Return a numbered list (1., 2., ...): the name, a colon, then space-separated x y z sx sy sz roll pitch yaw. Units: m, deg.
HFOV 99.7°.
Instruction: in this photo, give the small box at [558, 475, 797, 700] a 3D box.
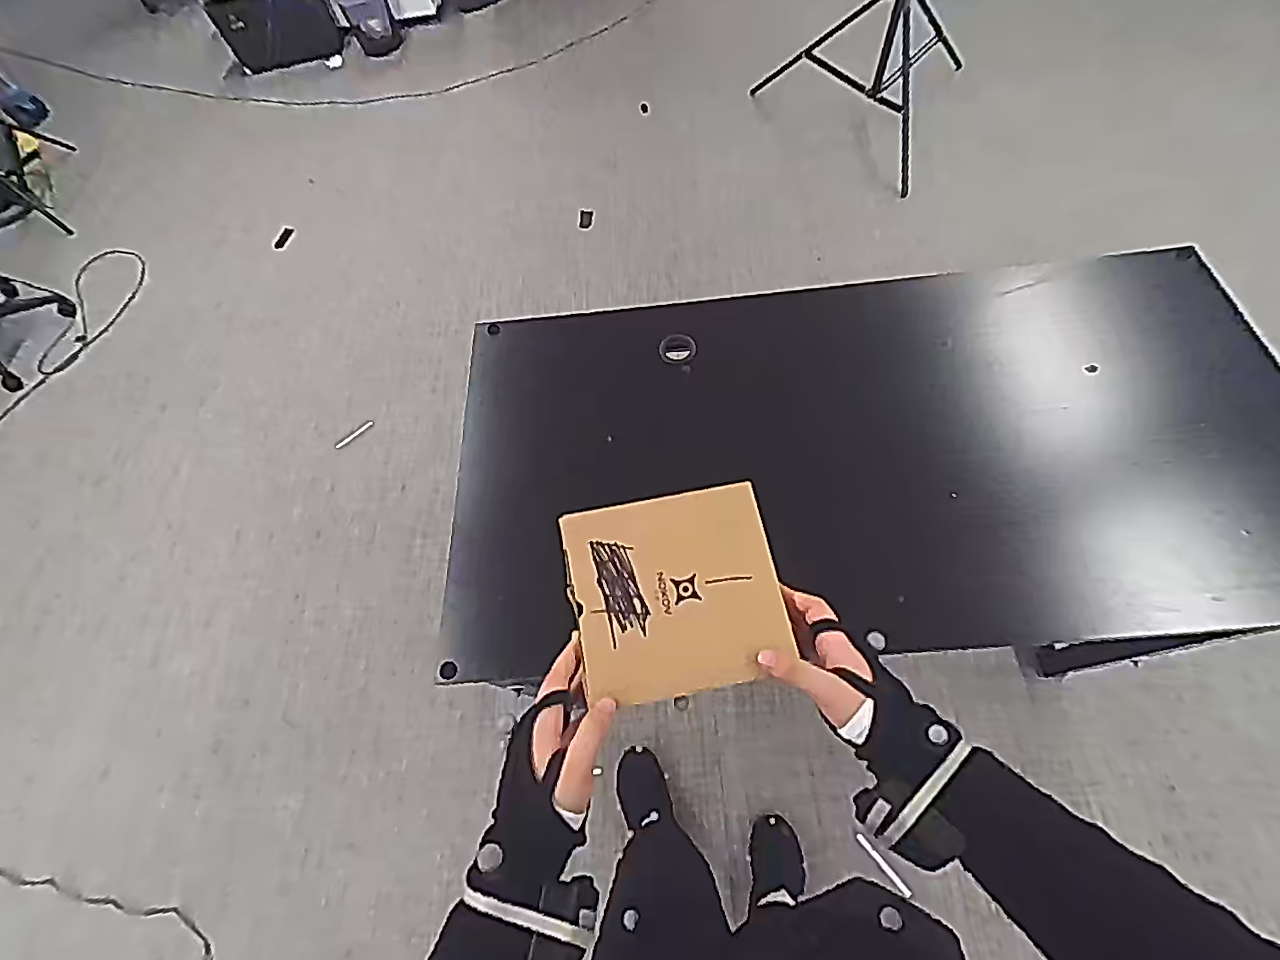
1. small box: 0.028 0.112 0.525 0.179 0.176 0.168 -10 71 -4
